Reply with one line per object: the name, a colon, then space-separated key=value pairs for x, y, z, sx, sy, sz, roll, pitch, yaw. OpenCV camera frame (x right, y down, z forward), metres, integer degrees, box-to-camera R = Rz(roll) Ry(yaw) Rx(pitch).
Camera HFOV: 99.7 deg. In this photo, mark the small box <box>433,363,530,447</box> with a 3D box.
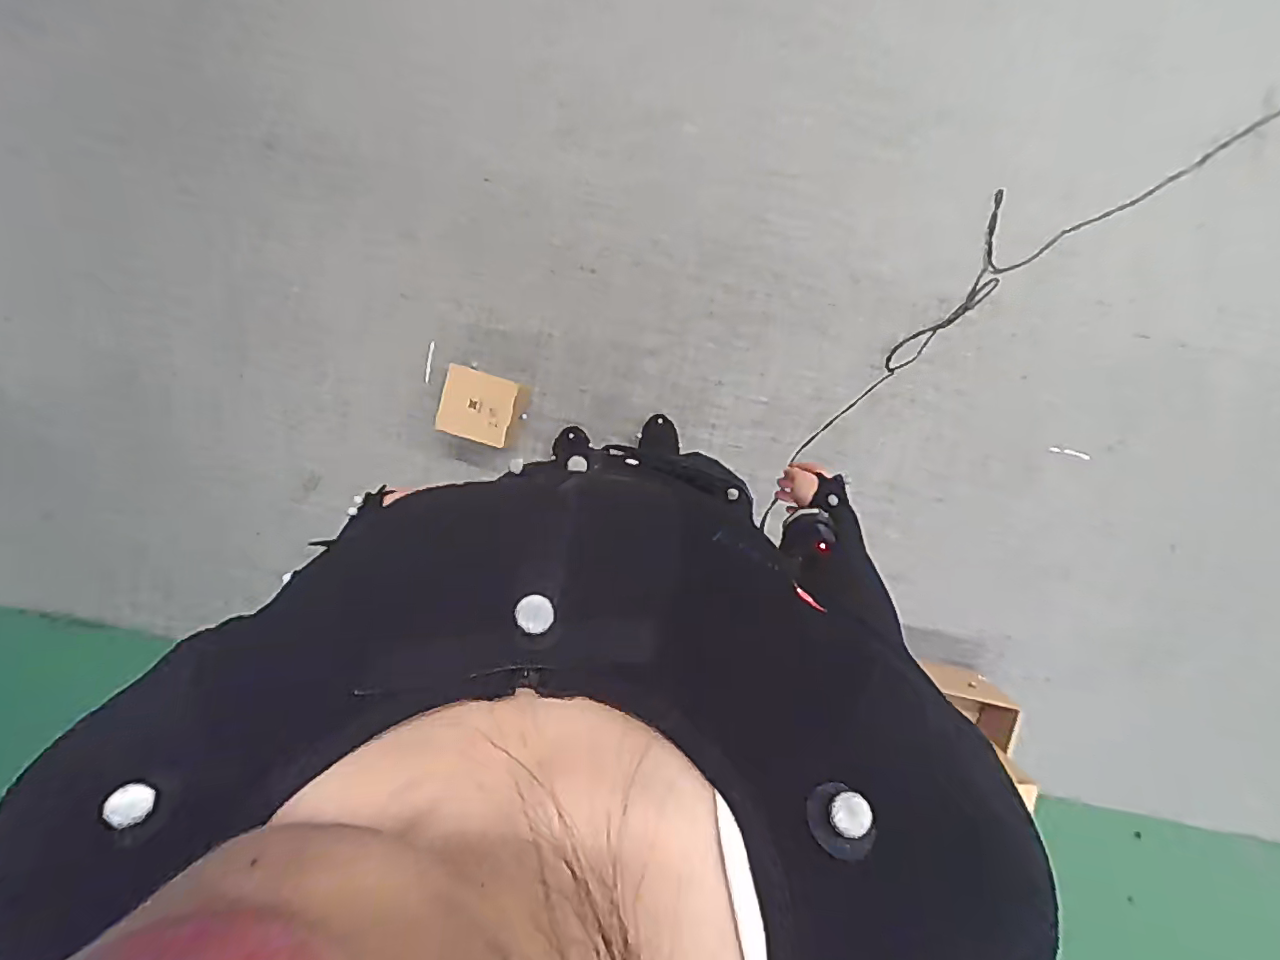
small box: x=-0.400 y=-0.191 z=1.387 sx=0.179 sy=0.176 sz=0.168 roll=17 pitch=98 yaw=-2
